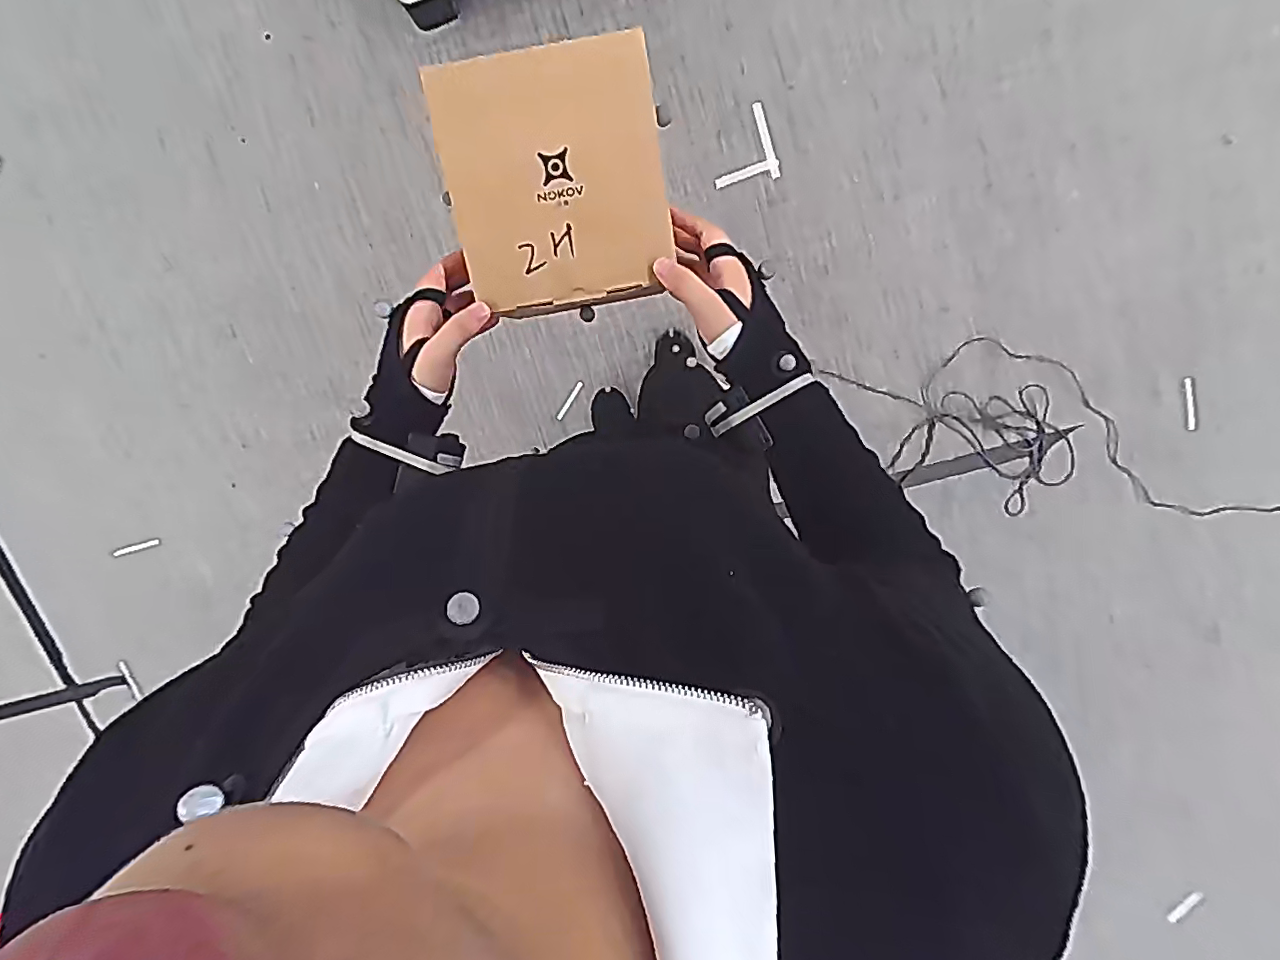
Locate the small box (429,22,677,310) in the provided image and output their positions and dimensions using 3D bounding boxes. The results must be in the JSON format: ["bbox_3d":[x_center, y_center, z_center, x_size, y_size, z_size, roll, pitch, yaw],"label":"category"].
[{"bbox_3d":[-0.066,-0.260,0.493,0.168,0.176,0.179,-10,106,0],"label":"small box"}]
